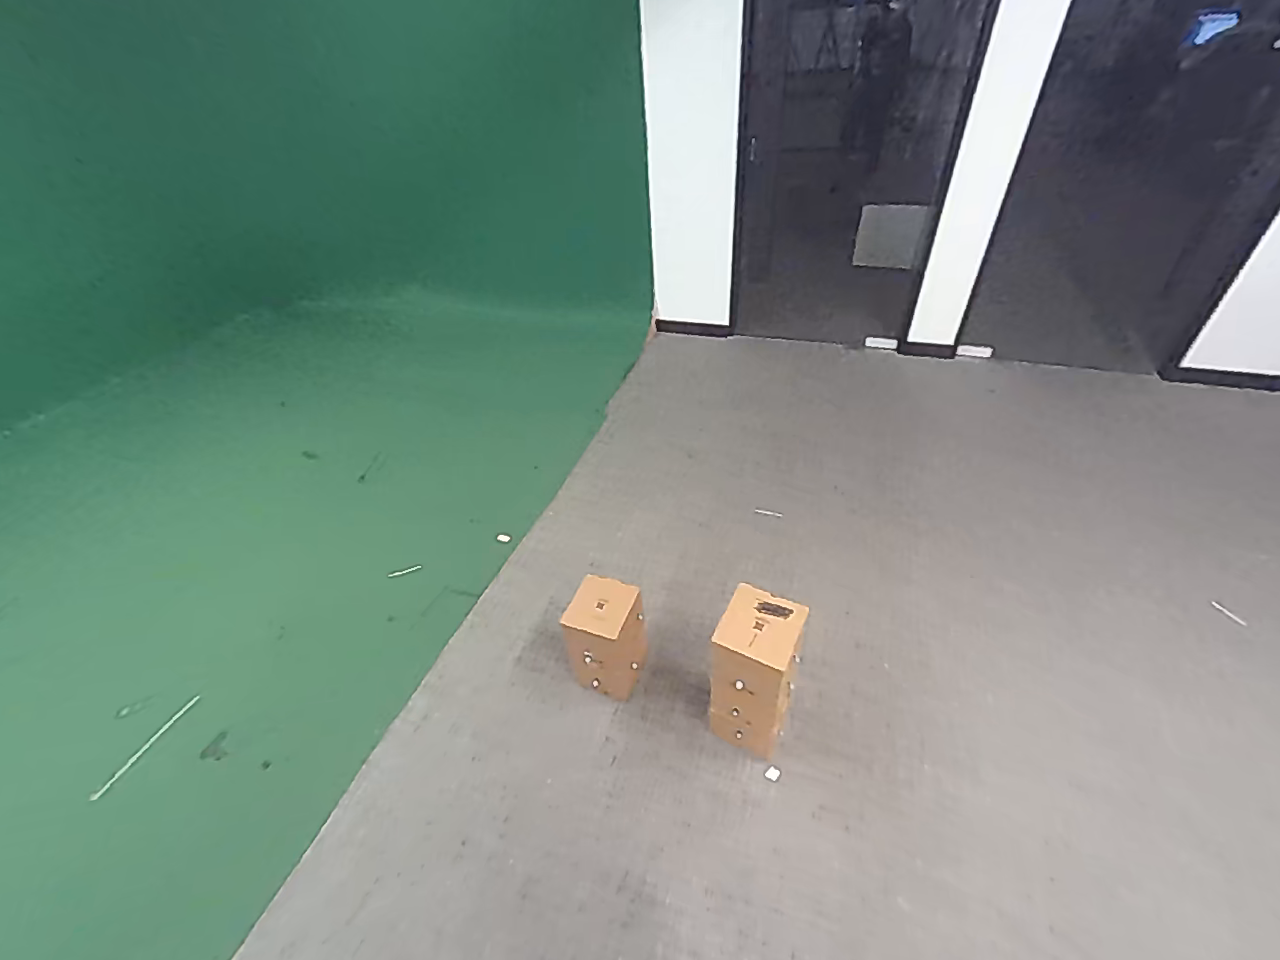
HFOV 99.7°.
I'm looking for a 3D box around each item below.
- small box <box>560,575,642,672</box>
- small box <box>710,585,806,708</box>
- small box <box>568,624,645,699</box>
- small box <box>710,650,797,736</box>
[{"bbox_3d":[-0.100,0.398,1.501,0.168,0.176,0.179,11,45,19],"label":"small box"},{"bbox_3d":[0.265,0.380,1.238,0.168,0.176,0.179,18,48,24],"label":"small box"},{"bbox_3d":[-0.092,0.519,1.610,0.168,0.176,0.179,14,46,20],"label":"small box"},{"bbox_3d":[0.279,0.497,1.353,0.168,0.176,0.179,17,47,23],"label":"small box"}]
